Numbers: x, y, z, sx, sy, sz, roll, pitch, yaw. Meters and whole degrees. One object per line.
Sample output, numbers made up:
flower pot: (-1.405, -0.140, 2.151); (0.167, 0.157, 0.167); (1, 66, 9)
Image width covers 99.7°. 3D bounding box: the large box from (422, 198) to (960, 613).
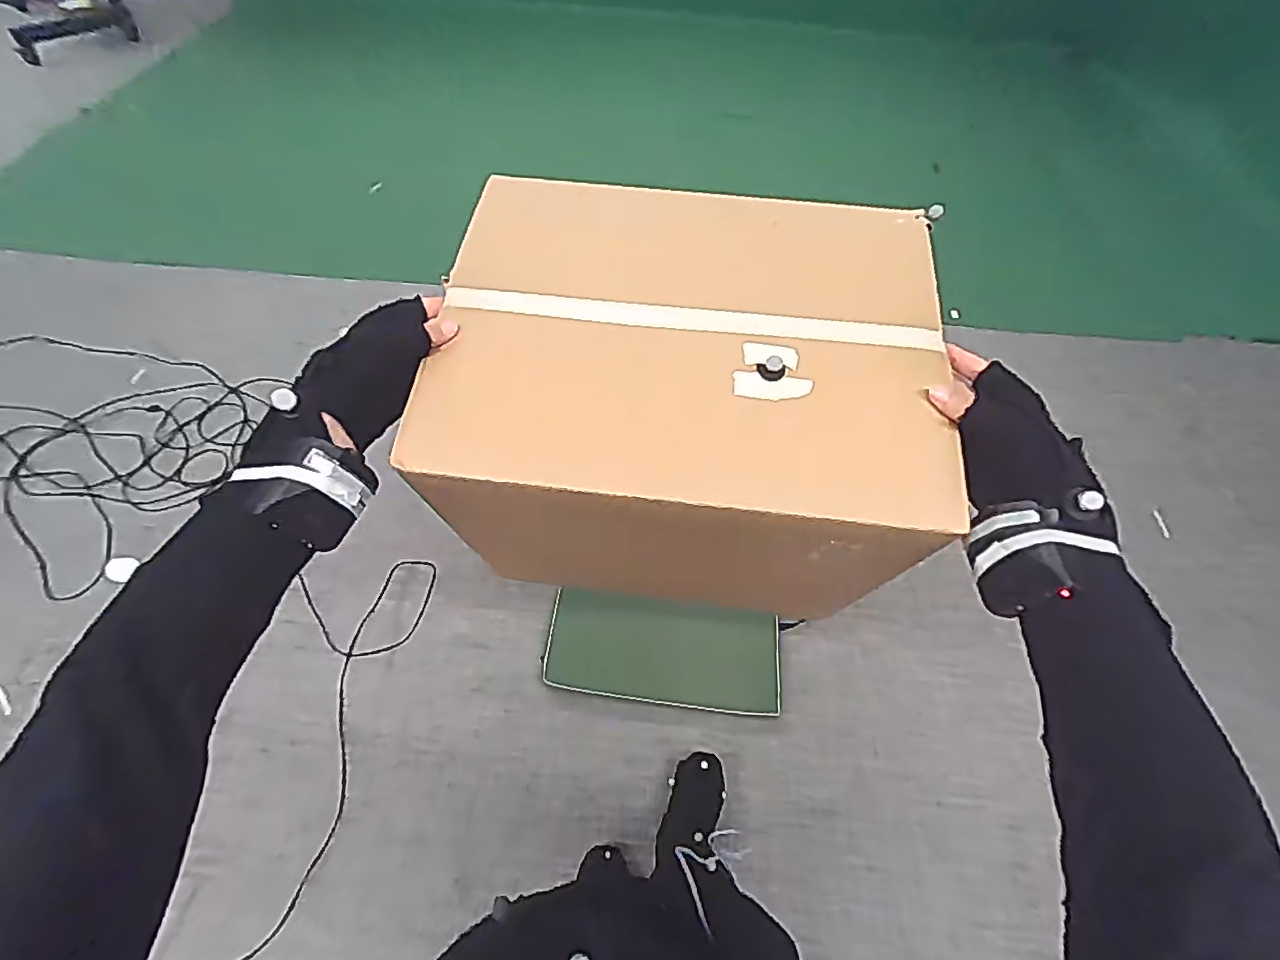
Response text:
large box: (0.046, -0.056, 0.590); (0.408, 0.320, 0.320); (6, 66, 2)
